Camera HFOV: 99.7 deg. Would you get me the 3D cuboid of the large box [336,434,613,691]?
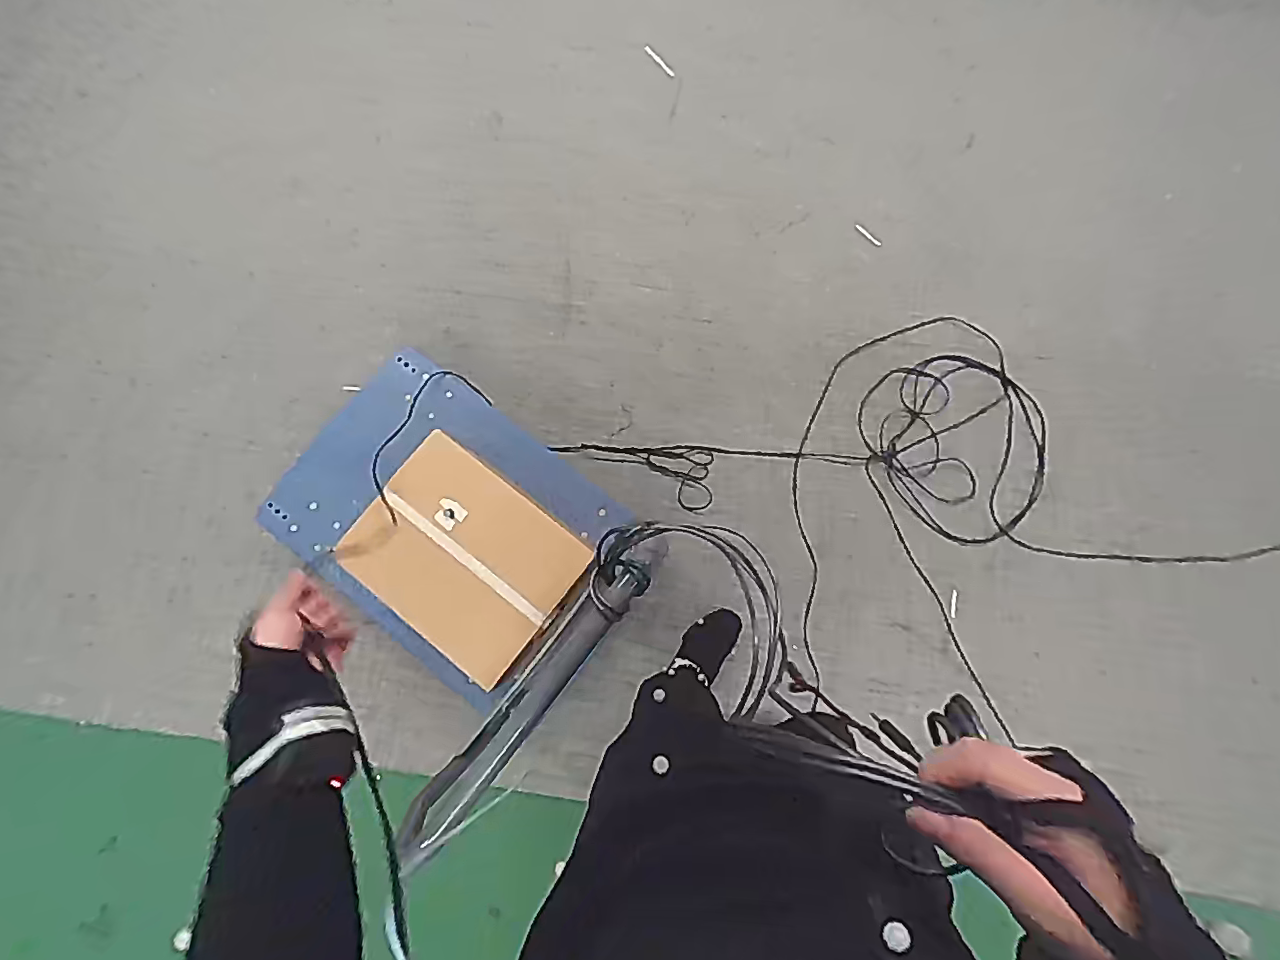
[{"bbox_3d":[-0.313,0.169,1.143,0.408,0.320,0.320,37,83,8],"label":"large box"}]
